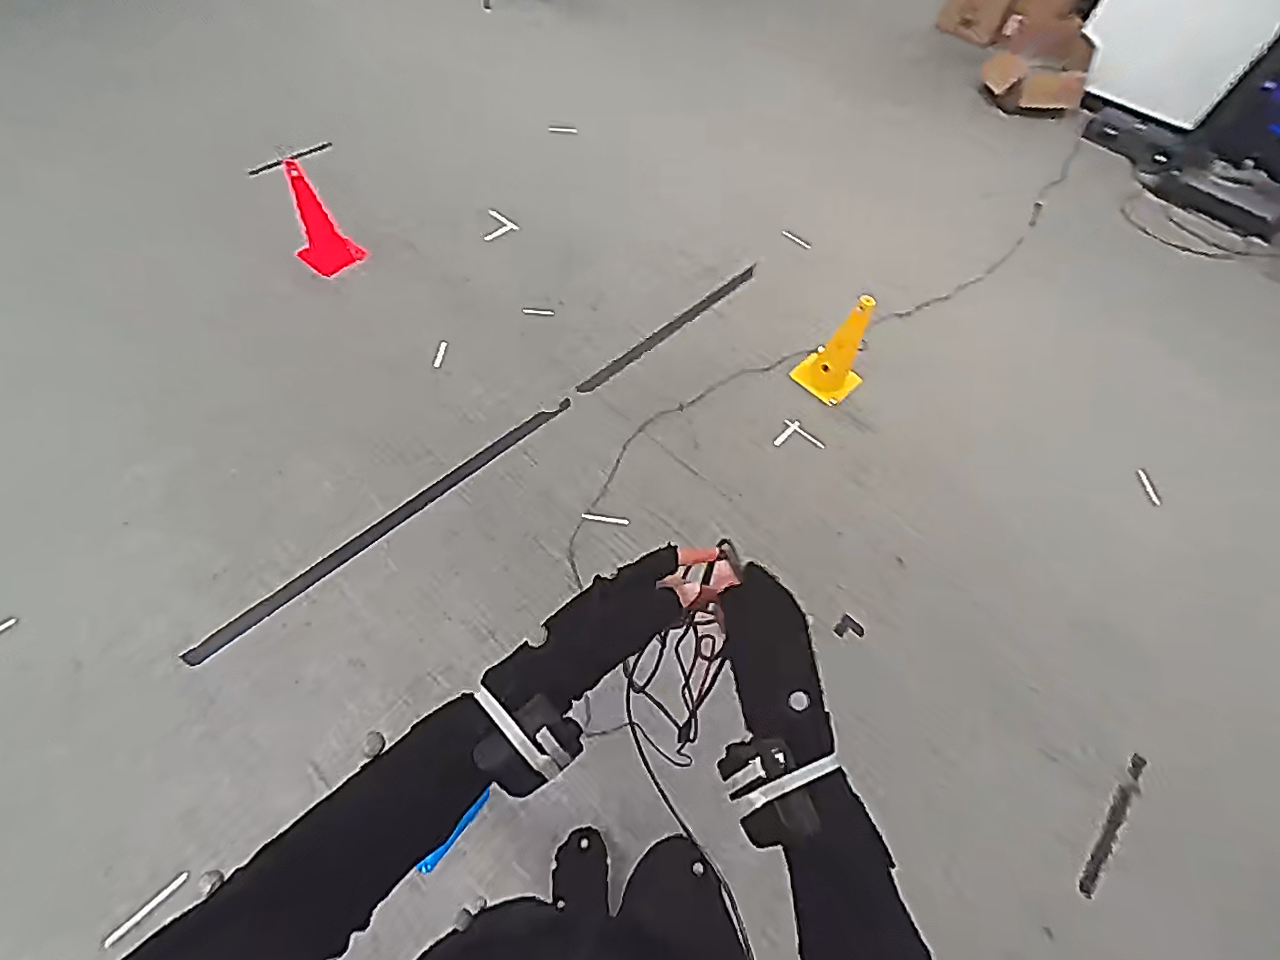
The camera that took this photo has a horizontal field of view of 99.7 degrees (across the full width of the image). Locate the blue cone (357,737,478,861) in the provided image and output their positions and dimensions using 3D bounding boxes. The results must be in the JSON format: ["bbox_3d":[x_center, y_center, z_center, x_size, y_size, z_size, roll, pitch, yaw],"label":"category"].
[{"bbox_3d":[-0.466,0.622,1.062,0.192,0.380,0.193,36,63,16],"label":"blue cone"}]

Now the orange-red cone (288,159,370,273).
[{"bbox_3d":[-1.170,-0.972,1.955,0.198,0.360,0.199,37,64,17],"label":"orange-red cone"}]
